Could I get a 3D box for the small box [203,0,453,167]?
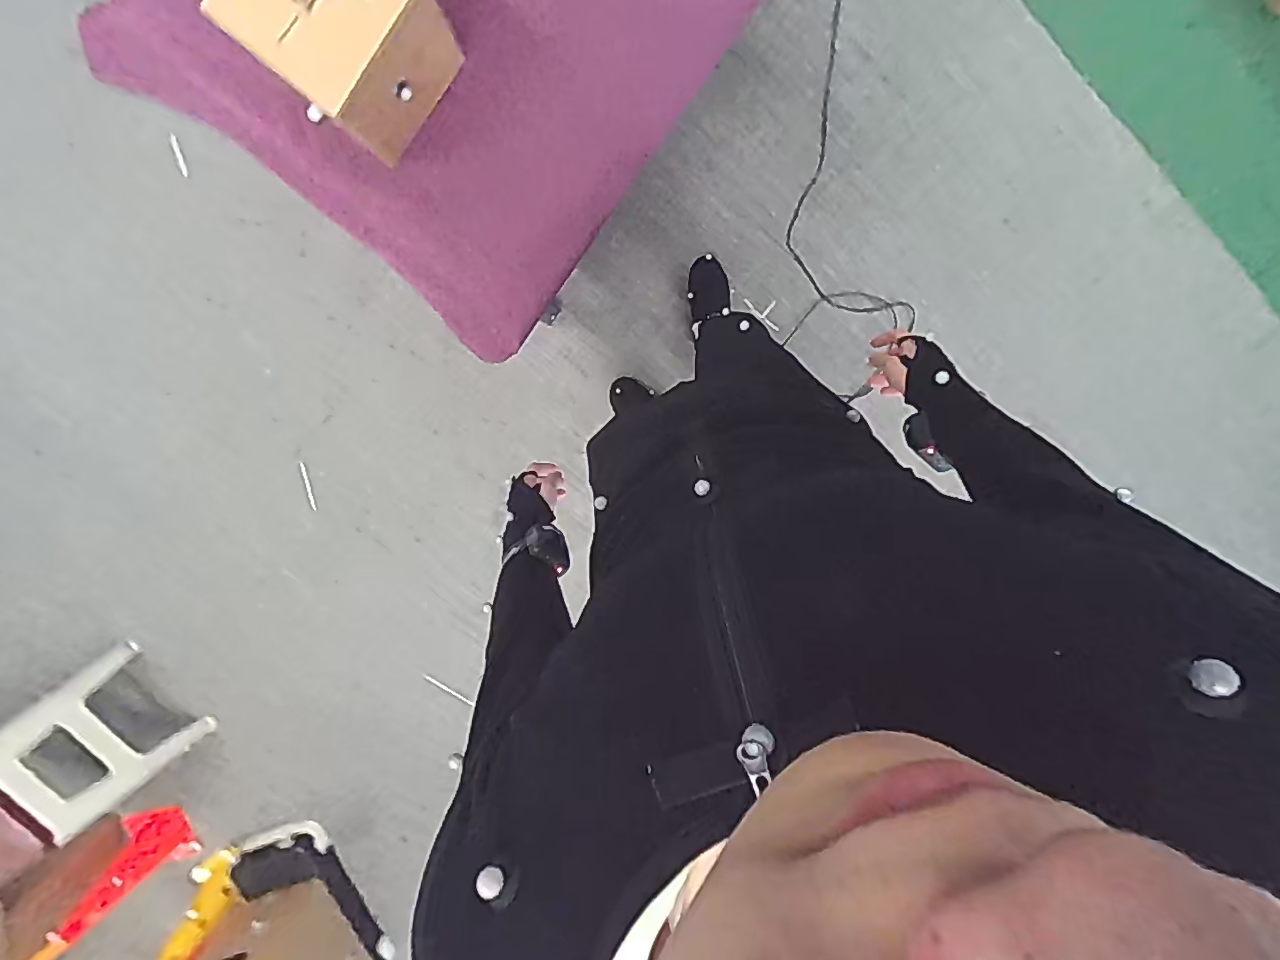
[{"bbox_3d":[-0.347,-0.522,0.645,0.168,0.176,0.179,38,100,-10],"label":"small box"}]
